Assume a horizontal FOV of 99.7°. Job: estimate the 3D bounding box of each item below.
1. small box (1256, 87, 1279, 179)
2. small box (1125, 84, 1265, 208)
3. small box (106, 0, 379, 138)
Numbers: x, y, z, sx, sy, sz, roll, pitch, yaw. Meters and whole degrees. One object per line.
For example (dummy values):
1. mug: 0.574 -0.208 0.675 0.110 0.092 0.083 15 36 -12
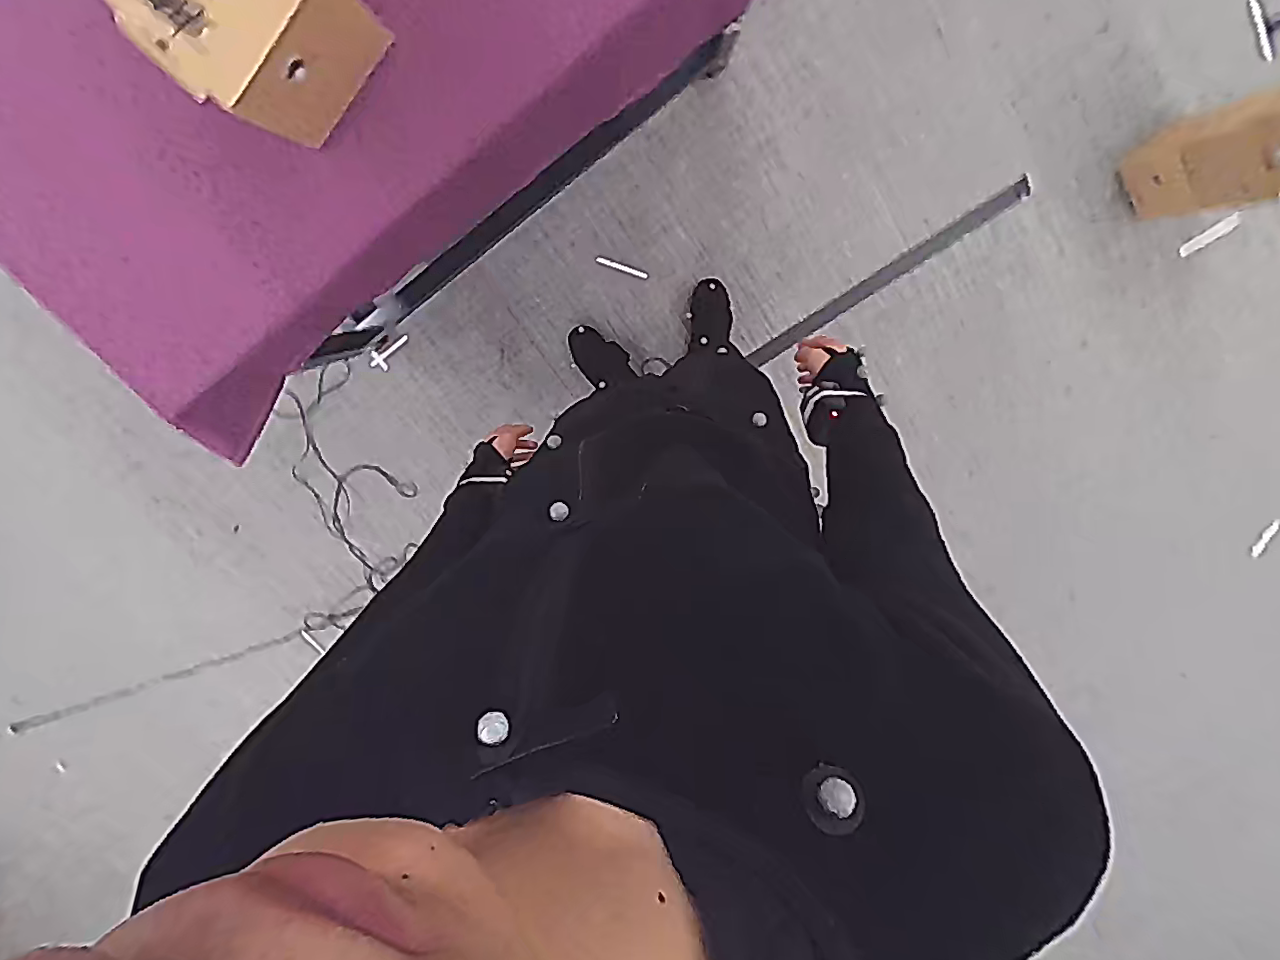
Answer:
1. small box: 1.291 -0.676 0.967 0.179 0.176 0.168 -32 108 12
2. small box: 1.313 -0.777 1.282 0.179 0.176 0.168 -37 106 12
3. small box: -0.433 -0.528 0.605 0.168 0.176 0.179 42 105 -14
